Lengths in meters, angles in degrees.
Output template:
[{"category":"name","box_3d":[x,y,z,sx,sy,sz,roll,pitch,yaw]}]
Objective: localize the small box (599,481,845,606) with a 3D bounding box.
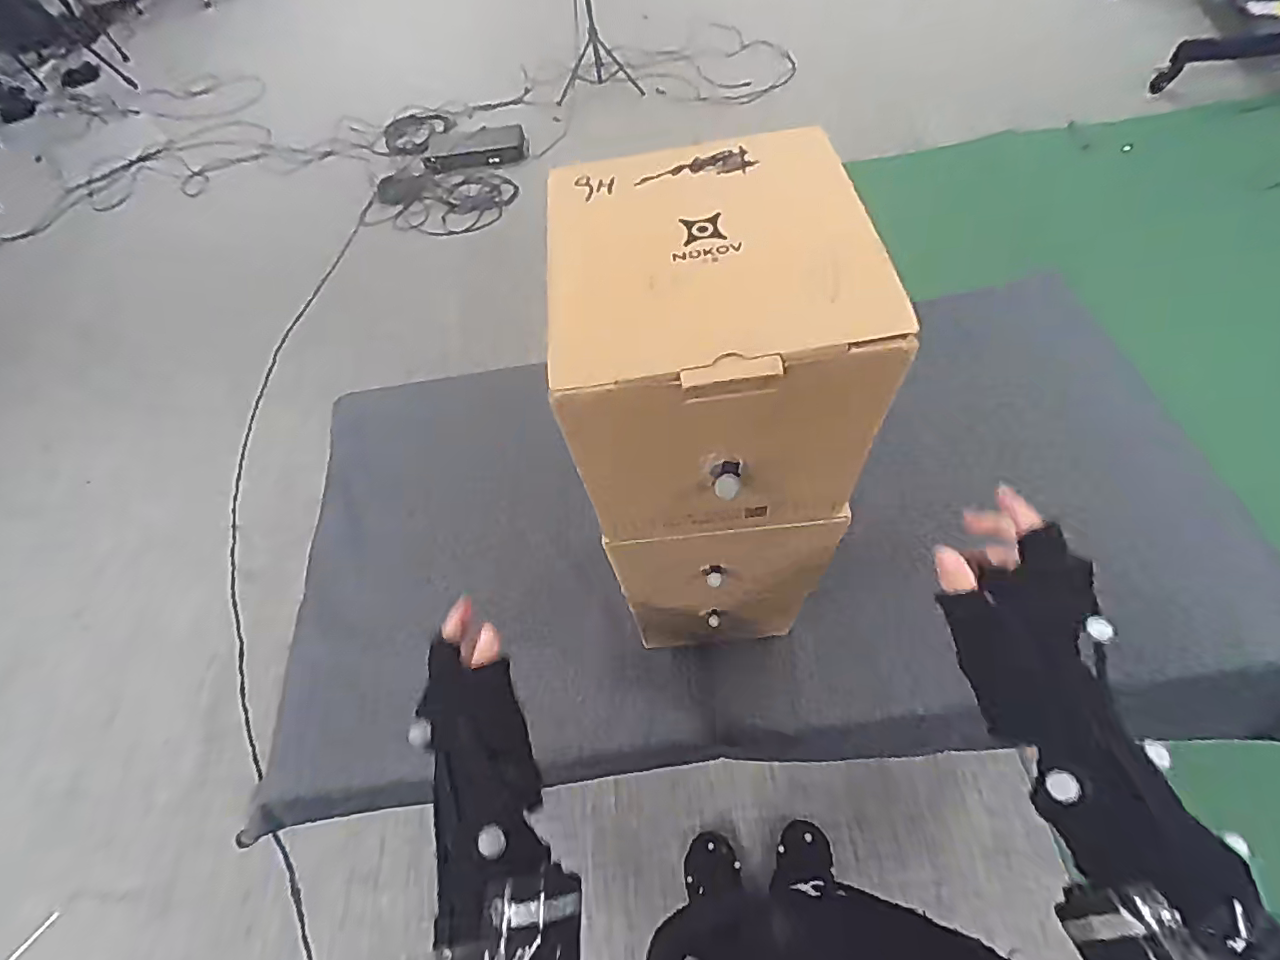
[{"category":"small box","box_3d":[0.062,0.005,0.487,0.179,0.176,0.168,-8,60,5]}]

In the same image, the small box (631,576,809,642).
[{"category":"small box","box_3d":[0.081,0.083,0.631,0.179,0.176,0.168,-8,60,3]}]

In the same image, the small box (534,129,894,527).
[{"category":"small box","box_3d":[0.037,-0.080,0.350,0.168,0.176,0.179,-8,60,4]}]
